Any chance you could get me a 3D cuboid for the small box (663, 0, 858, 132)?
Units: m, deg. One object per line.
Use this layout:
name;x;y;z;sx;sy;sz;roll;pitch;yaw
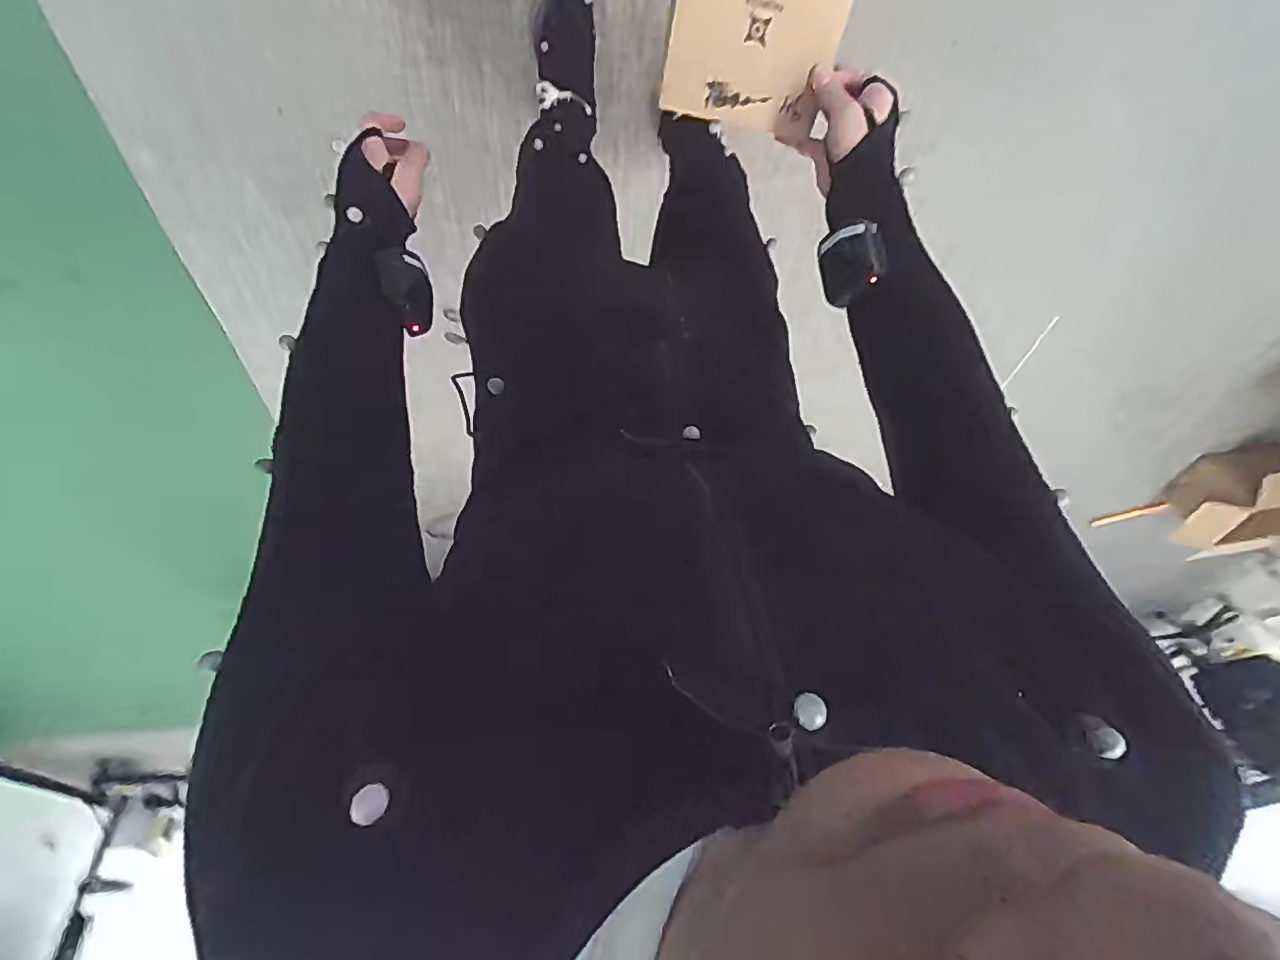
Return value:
small box;0.119;-0.493;0.562;0.168;0.176;0.179;8;131;-6
